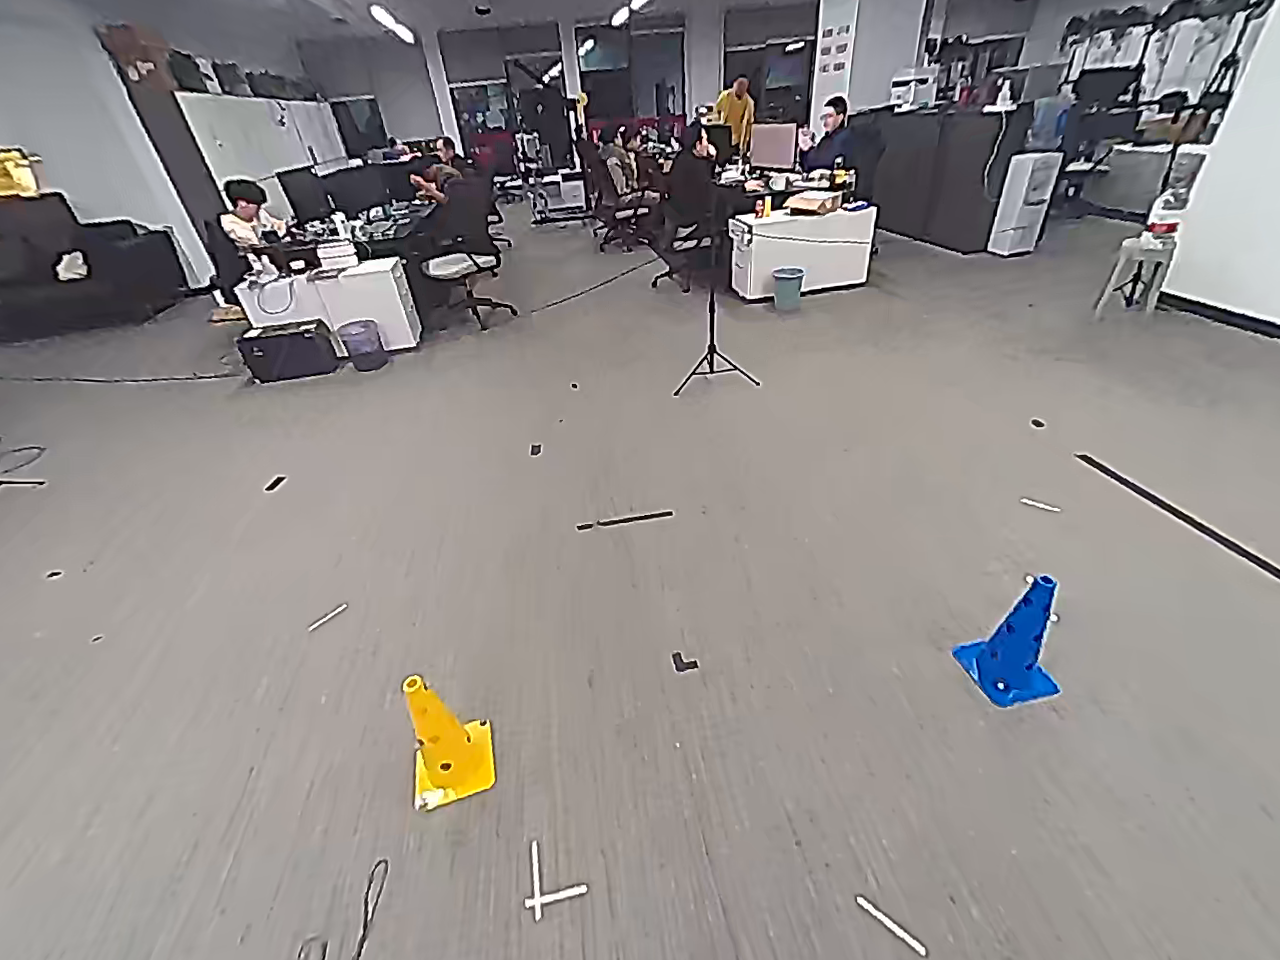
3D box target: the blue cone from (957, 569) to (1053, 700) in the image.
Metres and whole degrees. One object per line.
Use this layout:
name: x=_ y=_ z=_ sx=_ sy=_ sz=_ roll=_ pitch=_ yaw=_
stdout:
blue cone: x=1.016 y=0.392 z=1.436 sx=0.193 sy=0.380 sz=0.192 roll=-10 pitch=34 yaw=-6
